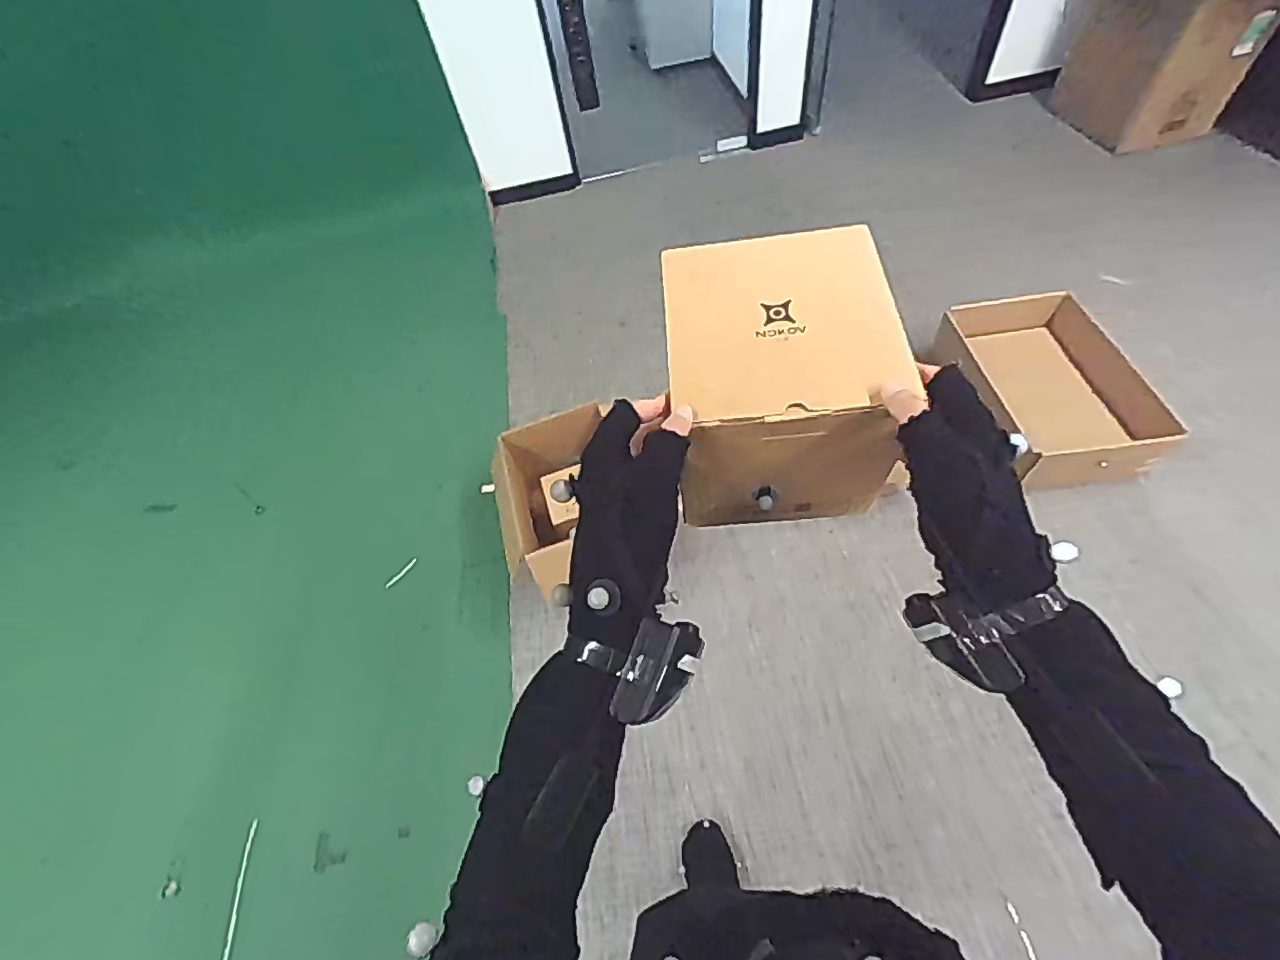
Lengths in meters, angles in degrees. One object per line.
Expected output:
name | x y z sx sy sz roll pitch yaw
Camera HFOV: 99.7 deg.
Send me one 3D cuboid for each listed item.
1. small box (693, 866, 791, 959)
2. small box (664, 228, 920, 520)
small box | 0.196 0.886 1.065 0.168 0.176 0.179 6 59 2
small box | 0.110 -0.082 0.467 0.168 0.176 0.179 -5 61 6
